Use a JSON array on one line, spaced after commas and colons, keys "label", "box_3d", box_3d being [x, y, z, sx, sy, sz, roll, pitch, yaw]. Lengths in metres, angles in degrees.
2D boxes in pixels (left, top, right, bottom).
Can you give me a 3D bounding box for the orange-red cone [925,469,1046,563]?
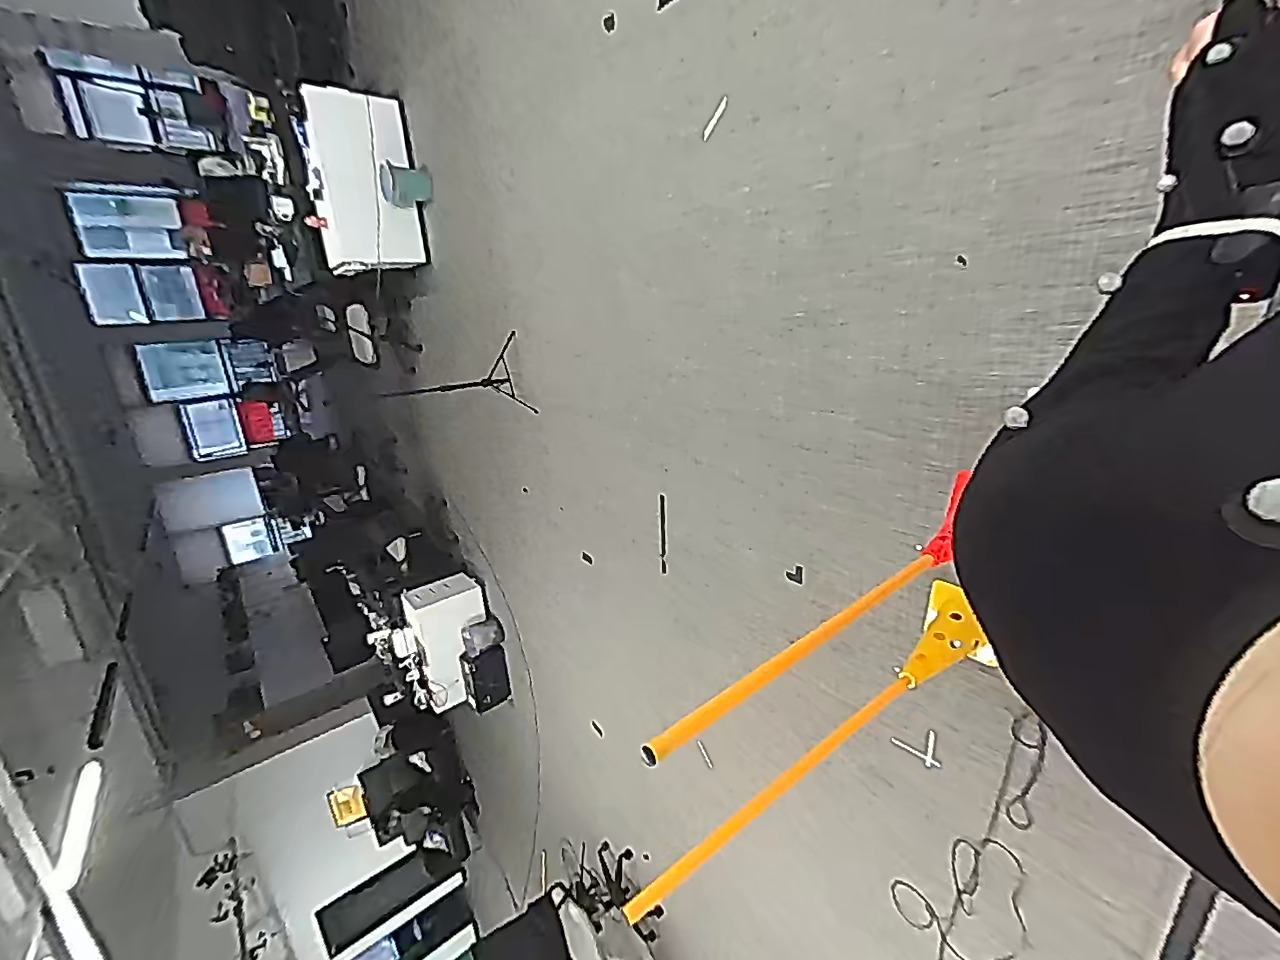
[{"label": "orange-red cone", "box_3d": [0.774, 0.123, 1.286, 0.198, 0.360, 0.199, 26, 122, 44]}]
